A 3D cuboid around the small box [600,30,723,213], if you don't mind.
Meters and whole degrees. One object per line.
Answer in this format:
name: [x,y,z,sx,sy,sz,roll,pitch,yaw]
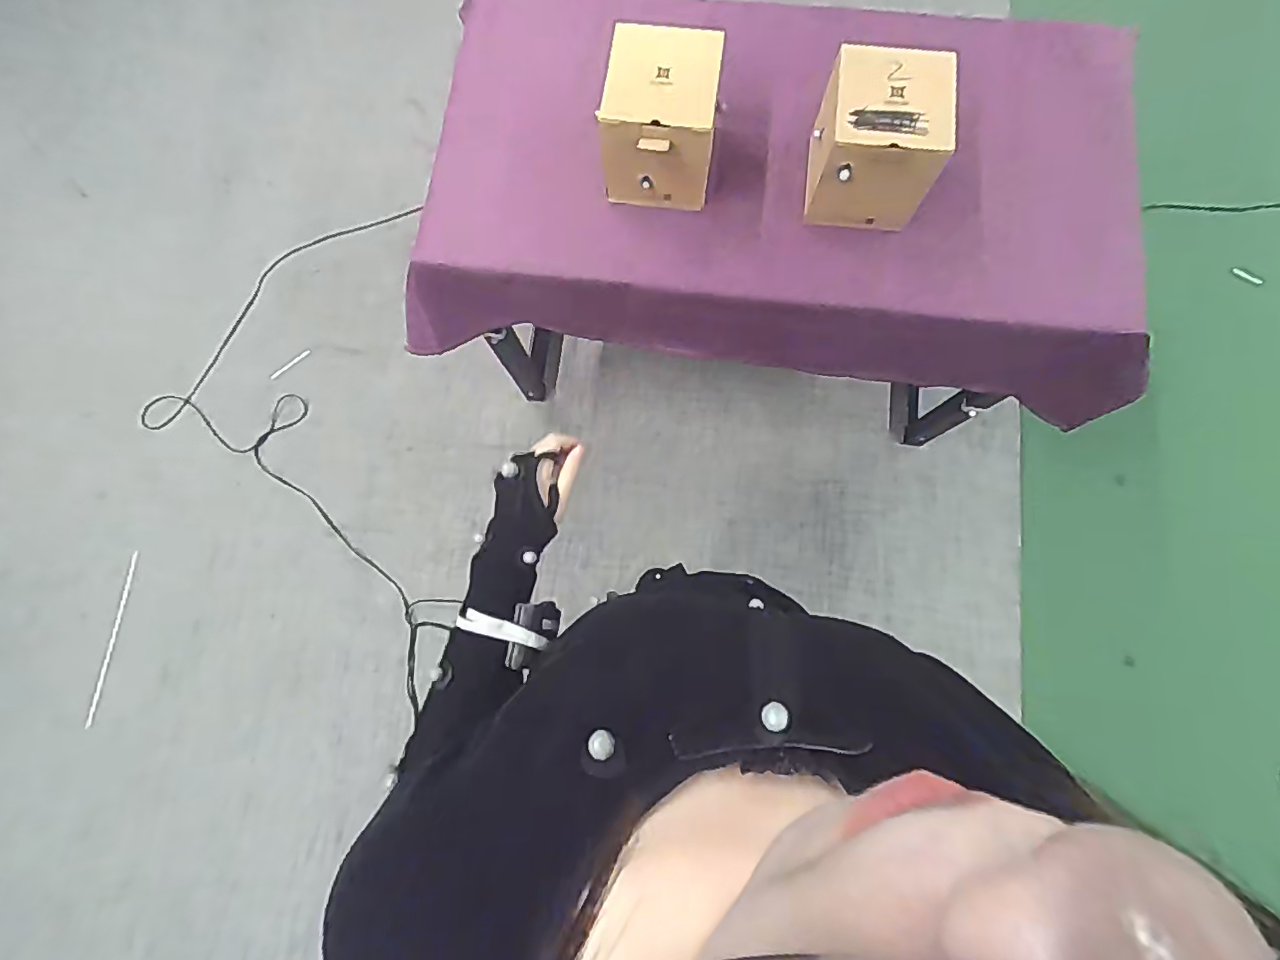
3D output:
small box: [0.035,-0.575,0.882,0.168,0.176,0.179,7,79,3]
